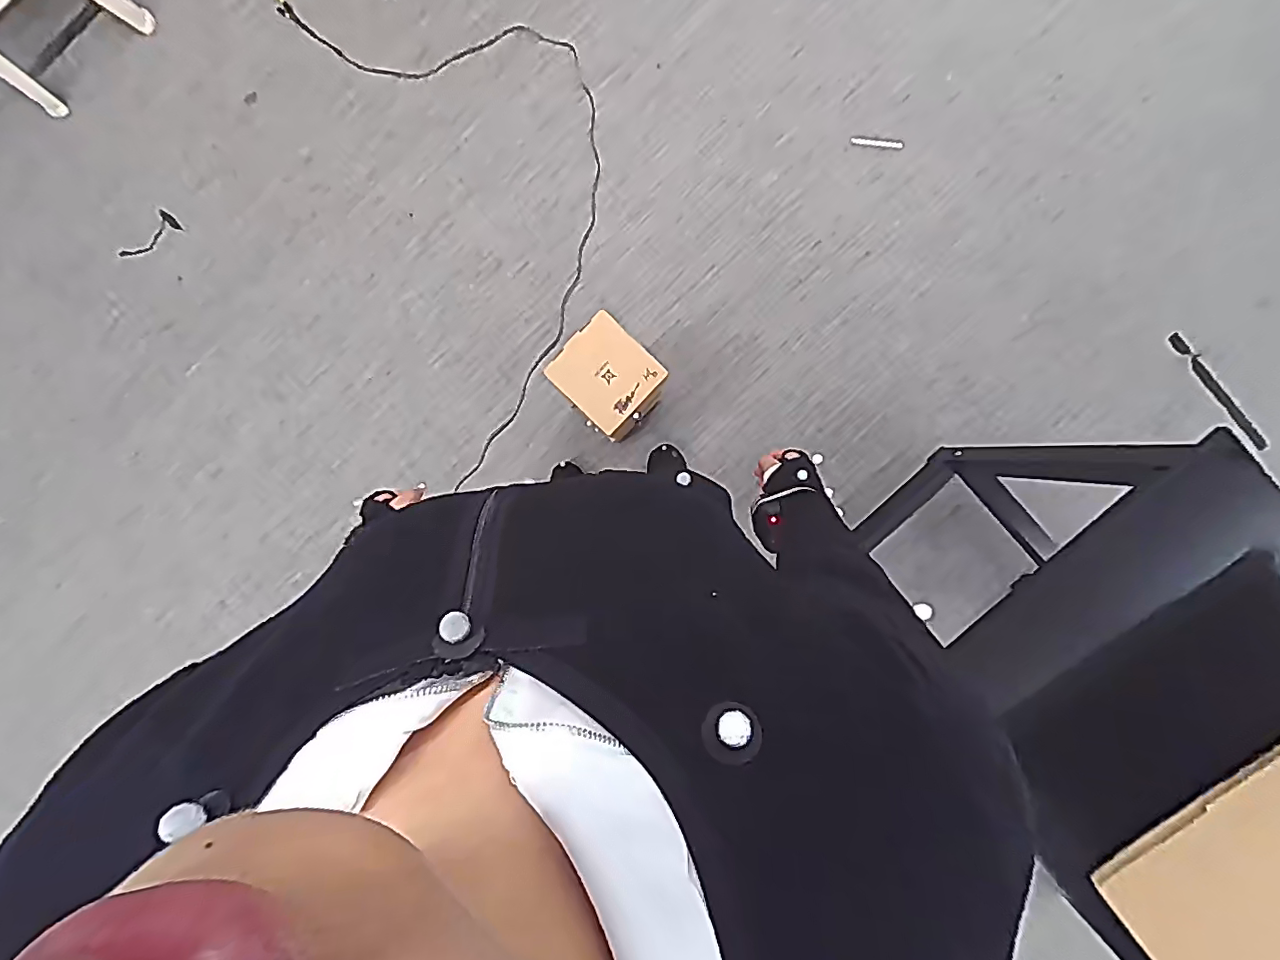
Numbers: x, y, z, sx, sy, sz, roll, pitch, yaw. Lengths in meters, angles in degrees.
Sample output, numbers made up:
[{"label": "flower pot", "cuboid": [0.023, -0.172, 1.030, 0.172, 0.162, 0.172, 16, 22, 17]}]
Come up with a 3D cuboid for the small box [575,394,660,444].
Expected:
[{"label": "small box", "cuboid": [-0.067, -0.210, 1.408, 0.168, 0.176, 0.179, 44, 93, -1]}]

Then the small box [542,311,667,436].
[{"label": "small box", "cuboid": [-0.066, -0.200, 1.082, 0.179, 0.176, 0.168, 44, 92, -1]}]
